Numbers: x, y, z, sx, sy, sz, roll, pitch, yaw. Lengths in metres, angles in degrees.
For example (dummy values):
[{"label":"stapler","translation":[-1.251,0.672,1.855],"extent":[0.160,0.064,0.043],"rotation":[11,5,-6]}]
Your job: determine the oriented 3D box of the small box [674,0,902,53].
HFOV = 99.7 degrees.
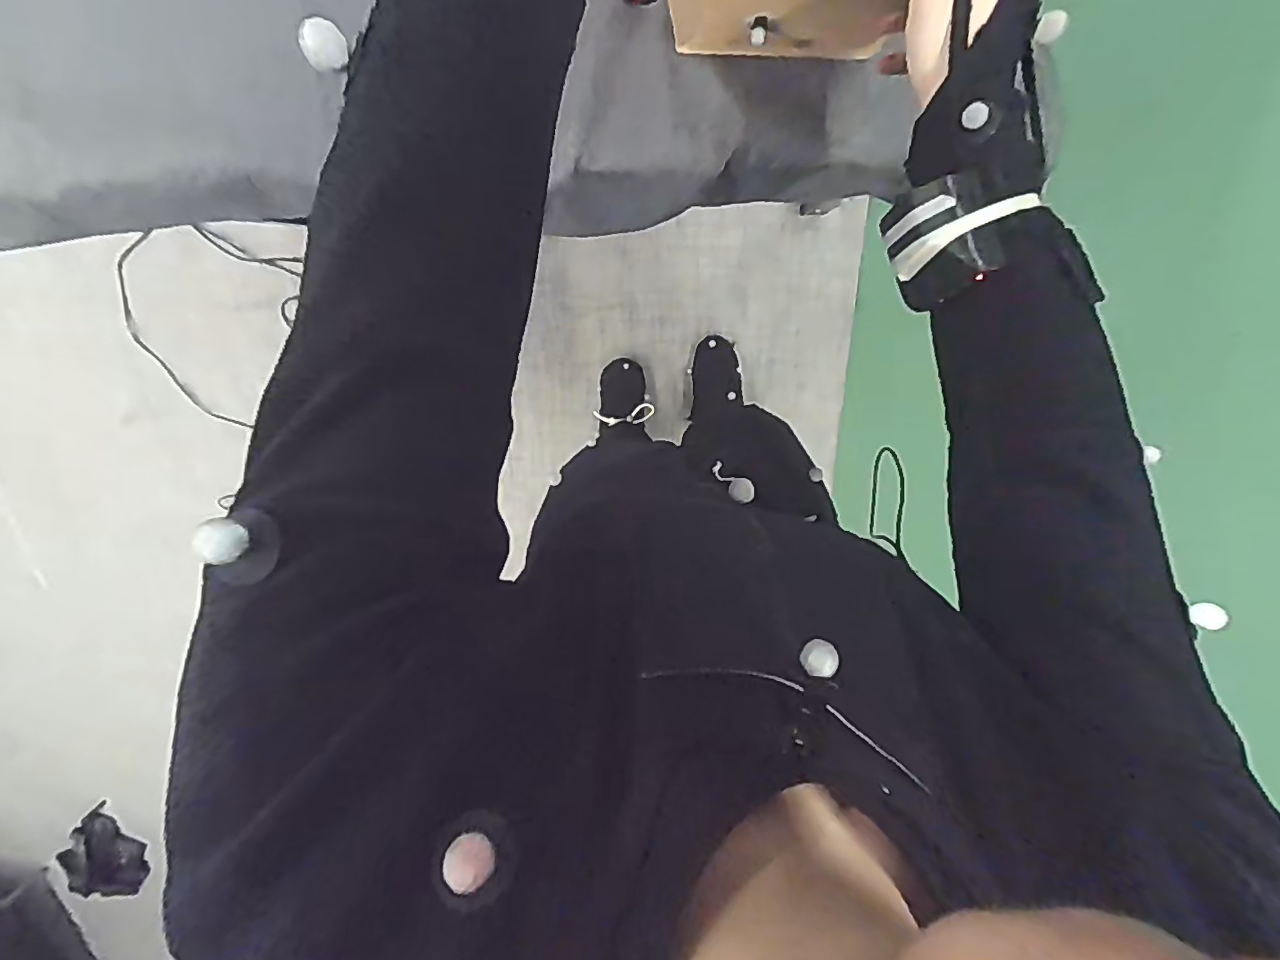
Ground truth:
[{"label":"small box","translation":[0.105,-0.414,0.347],"extent":[0.168,0.176,0.179],"rotation":[6,112,6]}]
